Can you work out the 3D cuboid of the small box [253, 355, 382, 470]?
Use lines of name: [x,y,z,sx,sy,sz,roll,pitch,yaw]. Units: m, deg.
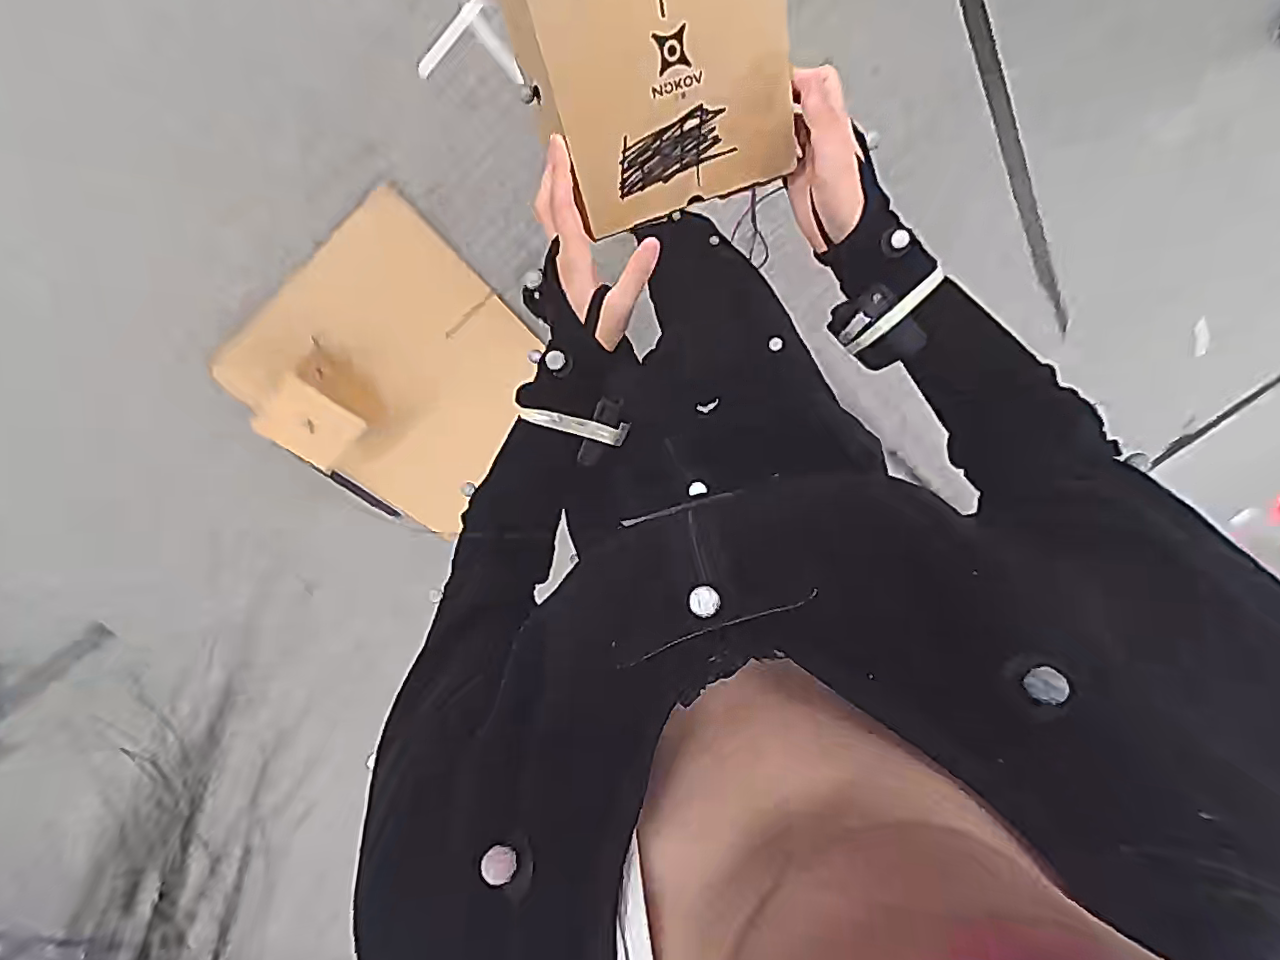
small box: [-0.722,-0.162,1.230,0.168,0.176,0.179,-44,122,16]
